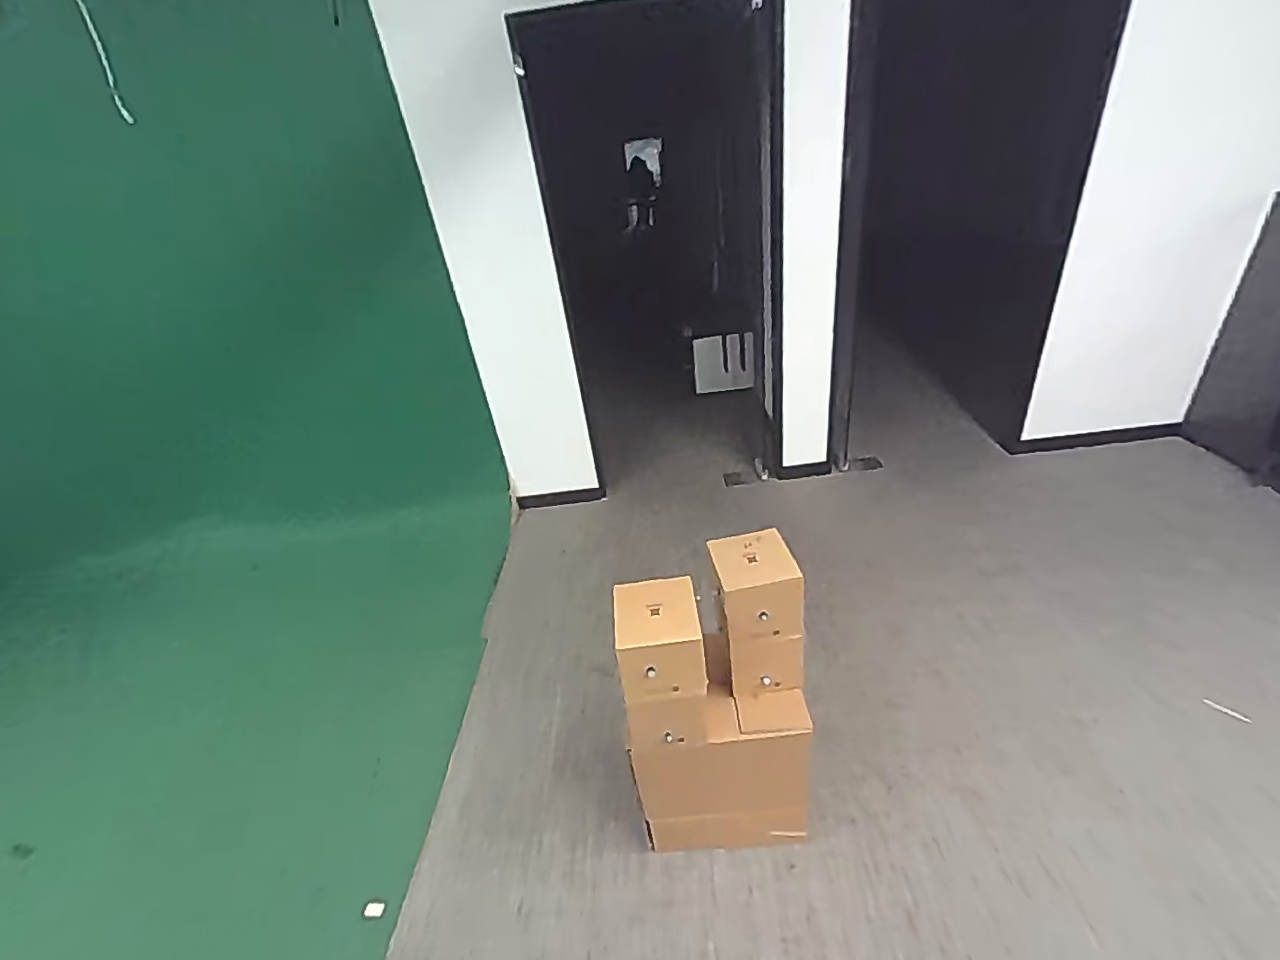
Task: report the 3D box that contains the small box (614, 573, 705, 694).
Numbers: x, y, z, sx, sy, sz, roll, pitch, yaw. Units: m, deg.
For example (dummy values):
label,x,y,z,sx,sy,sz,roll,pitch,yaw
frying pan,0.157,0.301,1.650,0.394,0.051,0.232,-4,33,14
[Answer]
label,x,y,z,sx,sy,sz,roll,pitch,yaw
small box,0.039,0.323,1.122,0.168,0.176,0.179,-7,33,1

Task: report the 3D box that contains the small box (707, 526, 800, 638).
label,x,y,z,sx,sy,sz,roll,pitch,yaw
small box,0.254,0.233,1.209,0.168,0.176,0.179,-10,31,0
